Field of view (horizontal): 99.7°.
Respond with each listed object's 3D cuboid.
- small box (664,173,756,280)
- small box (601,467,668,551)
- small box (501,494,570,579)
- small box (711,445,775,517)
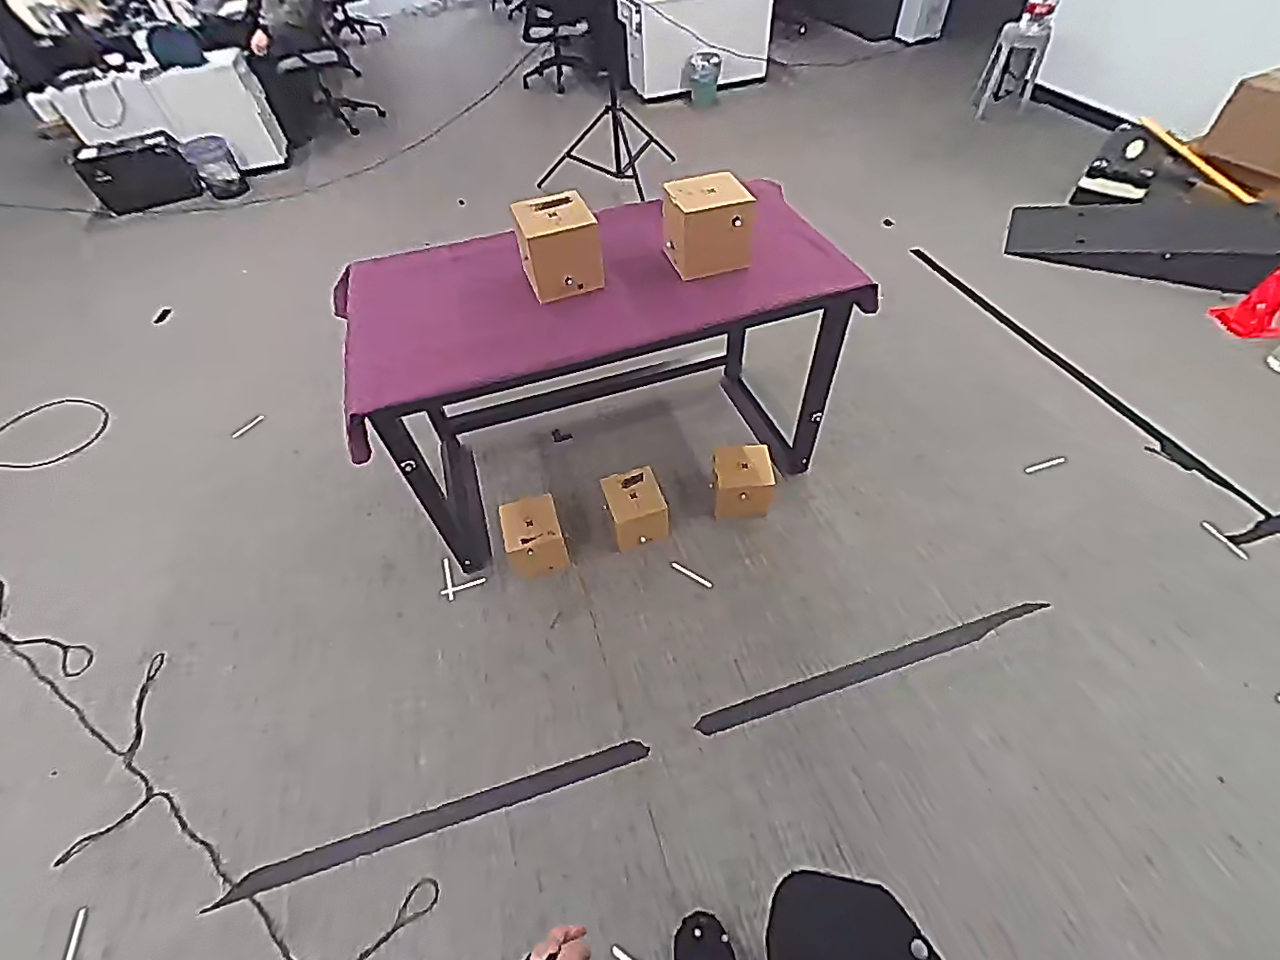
[{"bbox_3d":[0.163,-0.618,1.321,0.179,0.176,0.168,-15,51,-7],"label":"small box"},{"bbox_3d":[-0.017,0.093,1.702,0.168,0.176,0.179,-17,53,-9],"label":"small box"},{"bbox_3d":[-0.320,0.175,1.660,0.168,0.176,0.179,-15,51,-7],"label":"small box"},{"bbox_3d":[0.327,0.007,1.748,0.179,0.176,0.168,-4,52,3],"label":"small box"}]
